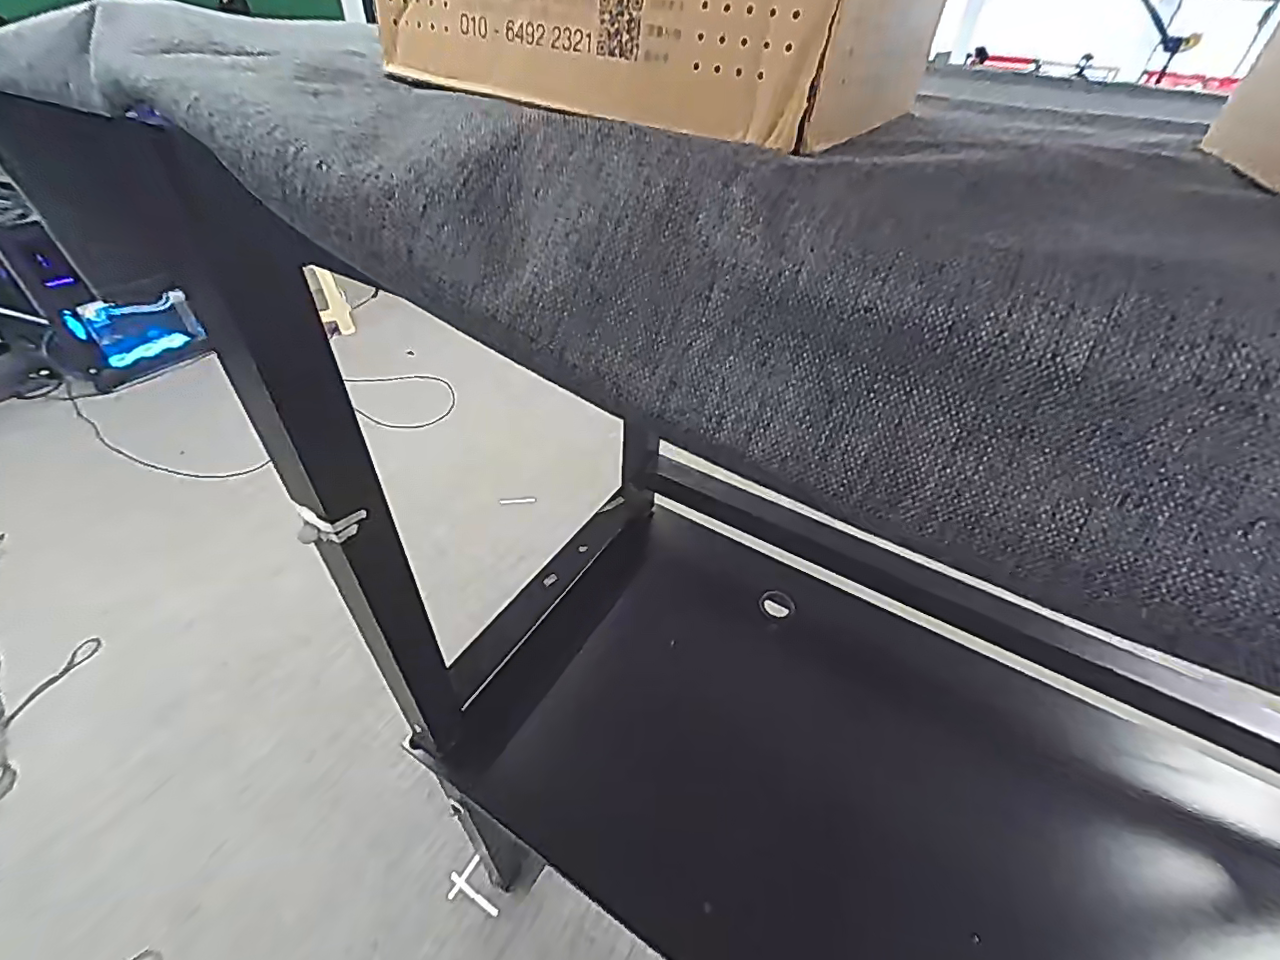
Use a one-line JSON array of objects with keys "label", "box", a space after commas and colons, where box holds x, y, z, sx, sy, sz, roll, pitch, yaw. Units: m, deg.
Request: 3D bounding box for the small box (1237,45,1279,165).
[{"label": "small box", "box": [0.263, -0.128, 0.083, 0.168, 0.176, 0.179, 24, 43, 23]}]

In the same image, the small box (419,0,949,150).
[{"label": "small box", "box": [0.029, -0.228, 0.182, 0.168, 0.176, 0.179, 24, 44, 20]}]
